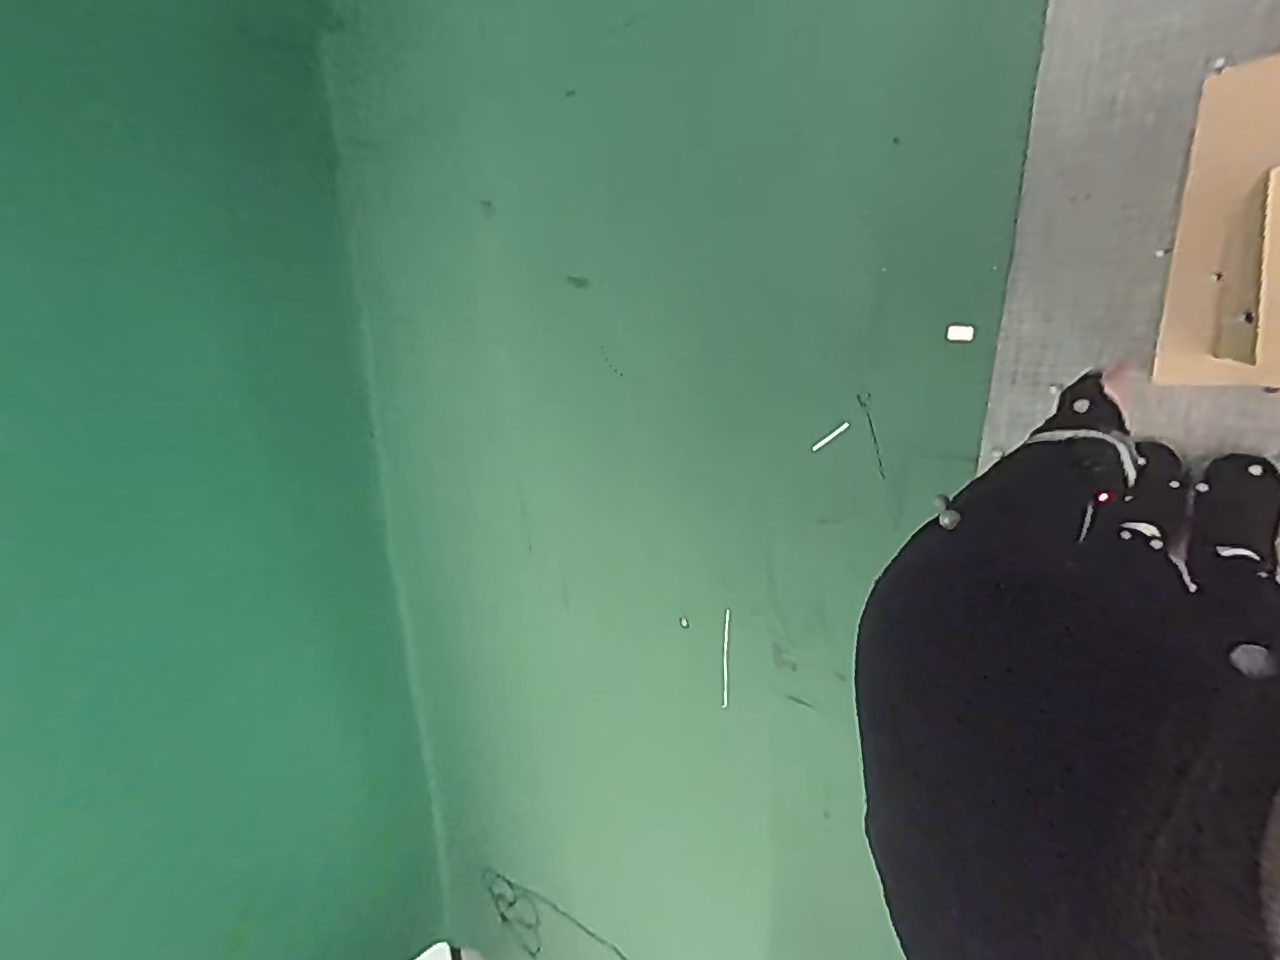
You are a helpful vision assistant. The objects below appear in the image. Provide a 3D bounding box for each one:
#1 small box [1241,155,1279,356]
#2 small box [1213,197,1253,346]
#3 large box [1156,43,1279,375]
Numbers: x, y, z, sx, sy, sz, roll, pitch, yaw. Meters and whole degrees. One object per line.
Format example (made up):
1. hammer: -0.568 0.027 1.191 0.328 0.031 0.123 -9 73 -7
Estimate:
1. small box: 0.674 -0.212 0.484 0.168 0.176 0.179 3 103 42
2. small box: 0.784 -0.240 0.603 0.179 0.176 0.168 8 107 42
3. large box: 0.956 -0.358 0.750 0.320 0.320 0.408 9 108 41
